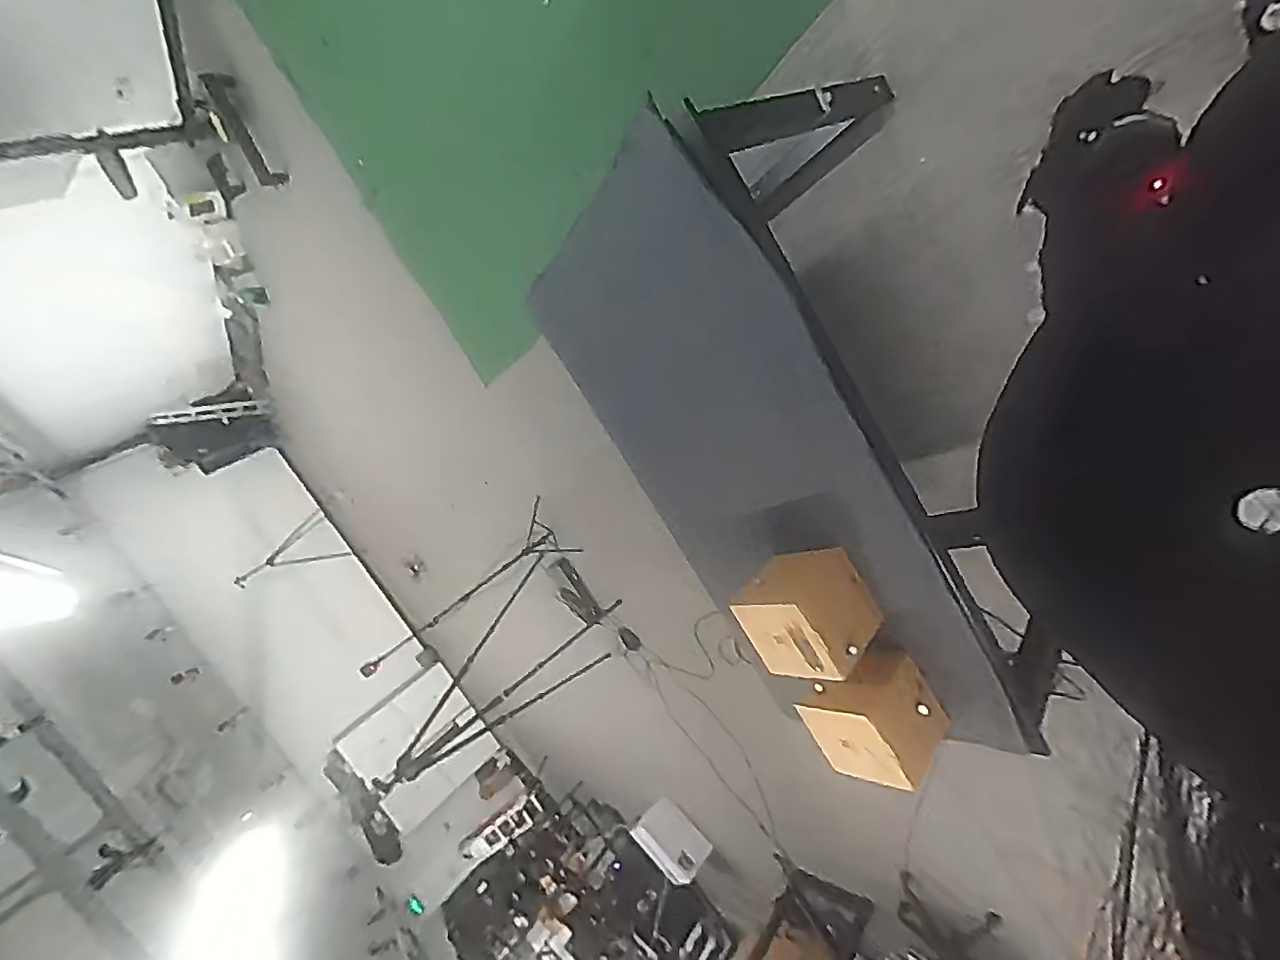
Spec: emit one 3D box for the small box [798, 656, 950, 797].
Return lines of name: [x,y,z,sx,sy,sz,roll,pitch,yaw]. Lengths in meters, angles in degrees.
small box: [0.447,0.456,1.032,0.168,0.176,0.179,58,146,-5]
